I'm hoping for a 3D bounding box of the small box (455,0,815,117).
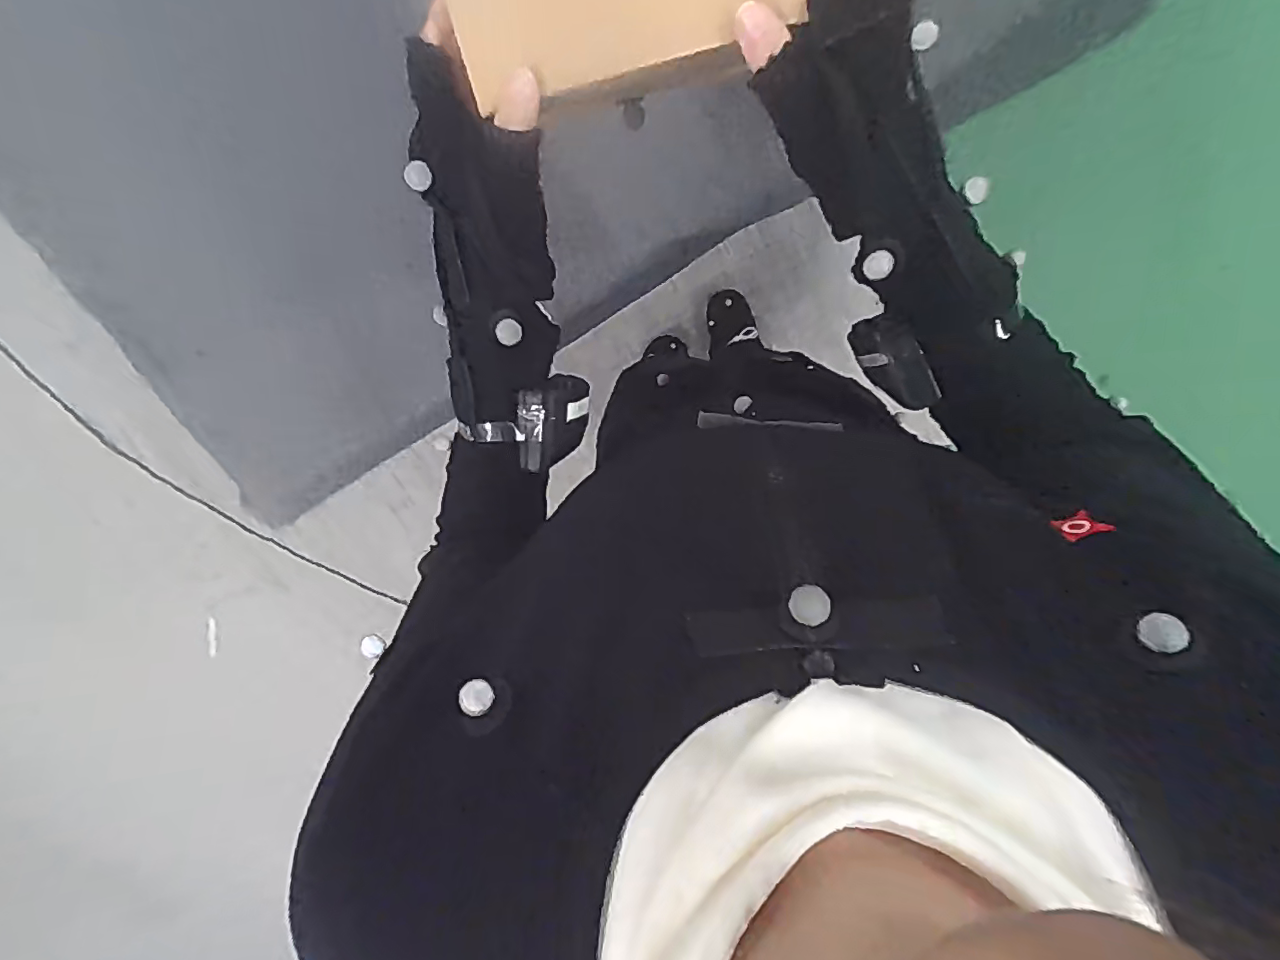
[{"bbox_3d":[-0.012,-0.313,0.284,0.168,0.176,0.179,-8,121,8],"label":"small box"}]
